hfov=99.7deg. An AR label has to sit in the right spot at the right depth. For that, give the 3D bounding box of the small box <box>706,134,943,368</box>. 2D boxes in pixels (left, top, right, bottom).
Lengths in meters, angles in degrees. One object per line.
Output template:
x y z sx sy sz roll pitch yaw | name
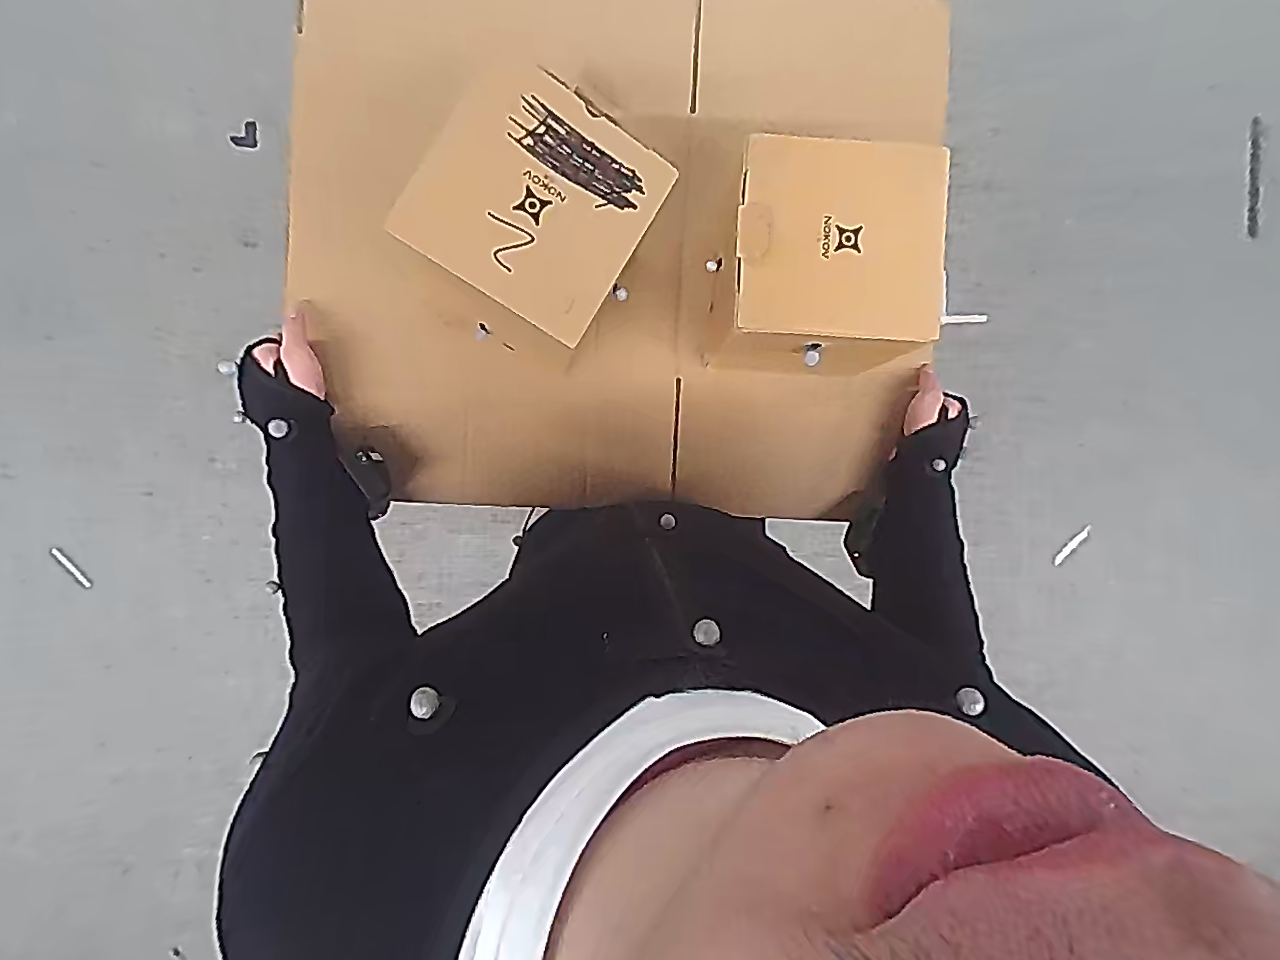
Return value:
0.170 -0.212 0.548 0.179 0.176 0.168 3 91 -1 | small box
